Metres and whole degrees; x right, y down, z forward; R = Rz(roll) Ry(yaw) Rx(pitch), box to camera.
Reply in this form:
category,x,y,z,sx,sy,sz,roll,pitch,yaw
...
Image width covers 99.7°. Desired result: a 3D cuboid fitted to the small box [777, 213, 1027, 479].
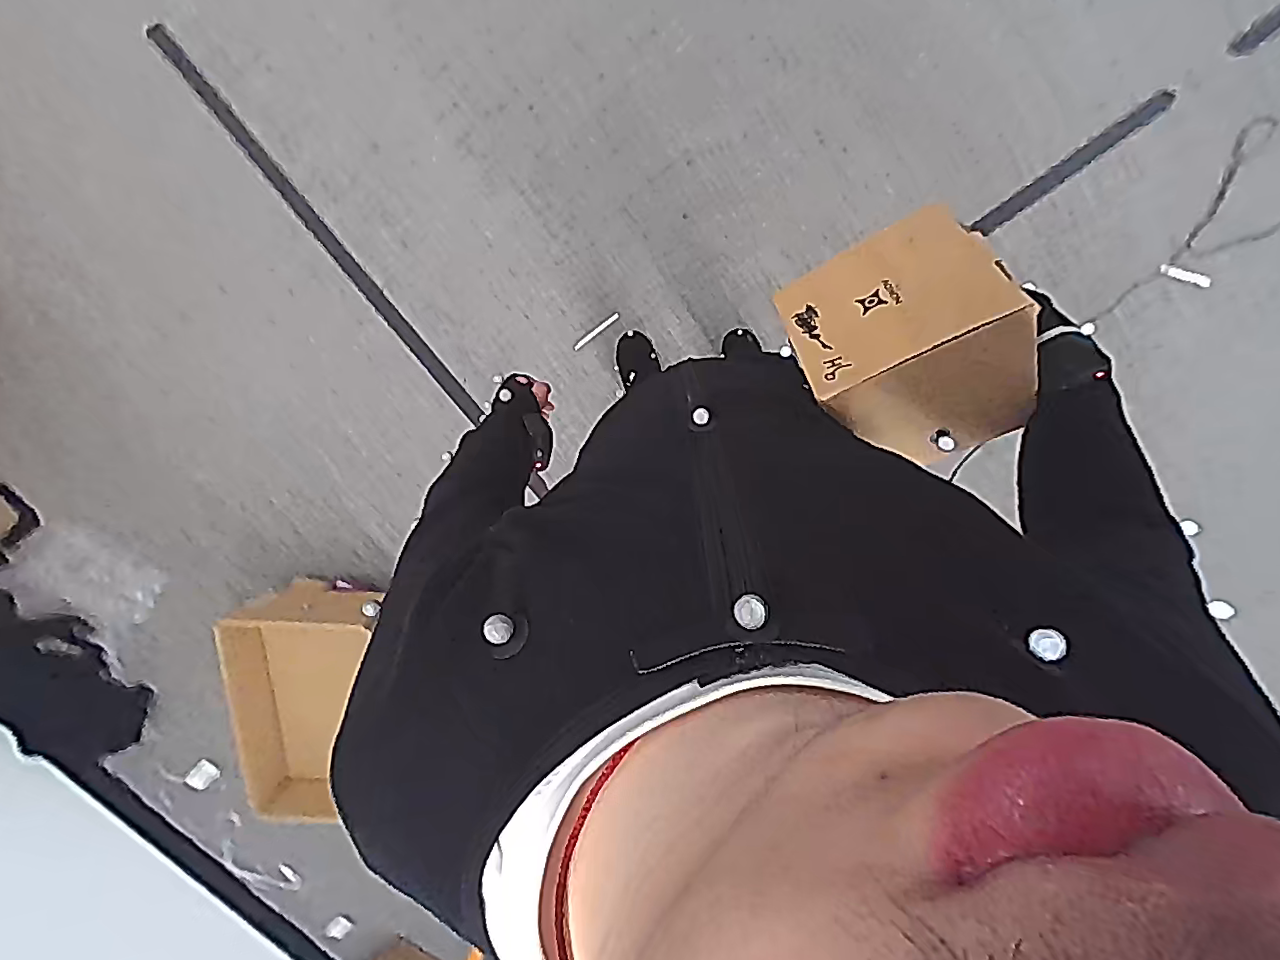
category,x,y,z,sx,sy,sz,roll,pitch,yaw
small box,0.270,-0.130,0.570,0.179,0.168,0.176,-24,139,21
